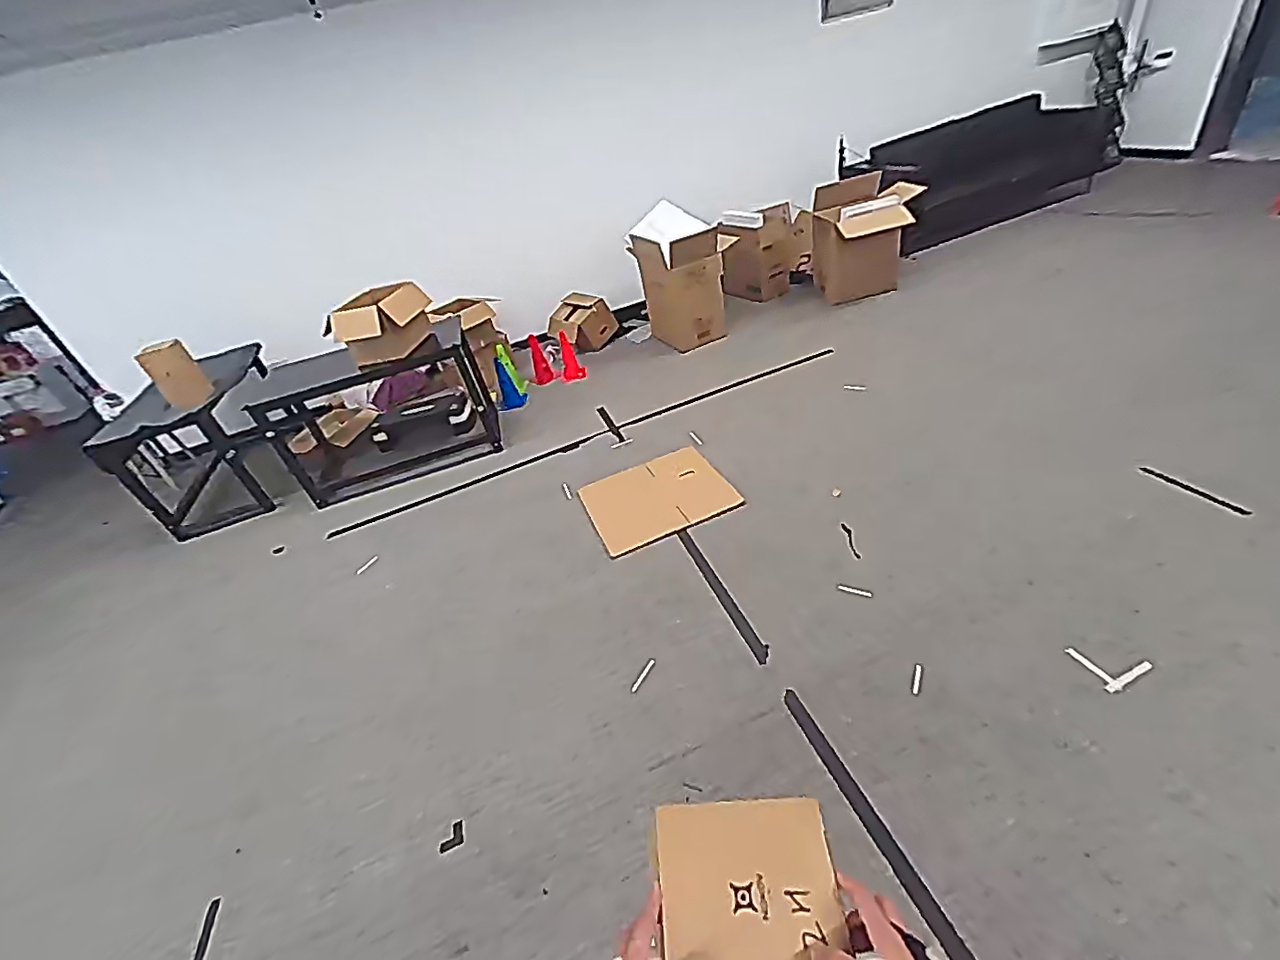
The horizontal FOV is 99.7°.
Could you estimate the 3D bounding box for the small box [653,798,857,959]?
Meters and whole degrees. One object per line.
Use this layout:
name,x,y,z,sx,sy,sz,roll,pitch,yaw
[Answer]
small box,0.104,0.452,0.570,0.179,0.176,0.168,-1,46,-3
